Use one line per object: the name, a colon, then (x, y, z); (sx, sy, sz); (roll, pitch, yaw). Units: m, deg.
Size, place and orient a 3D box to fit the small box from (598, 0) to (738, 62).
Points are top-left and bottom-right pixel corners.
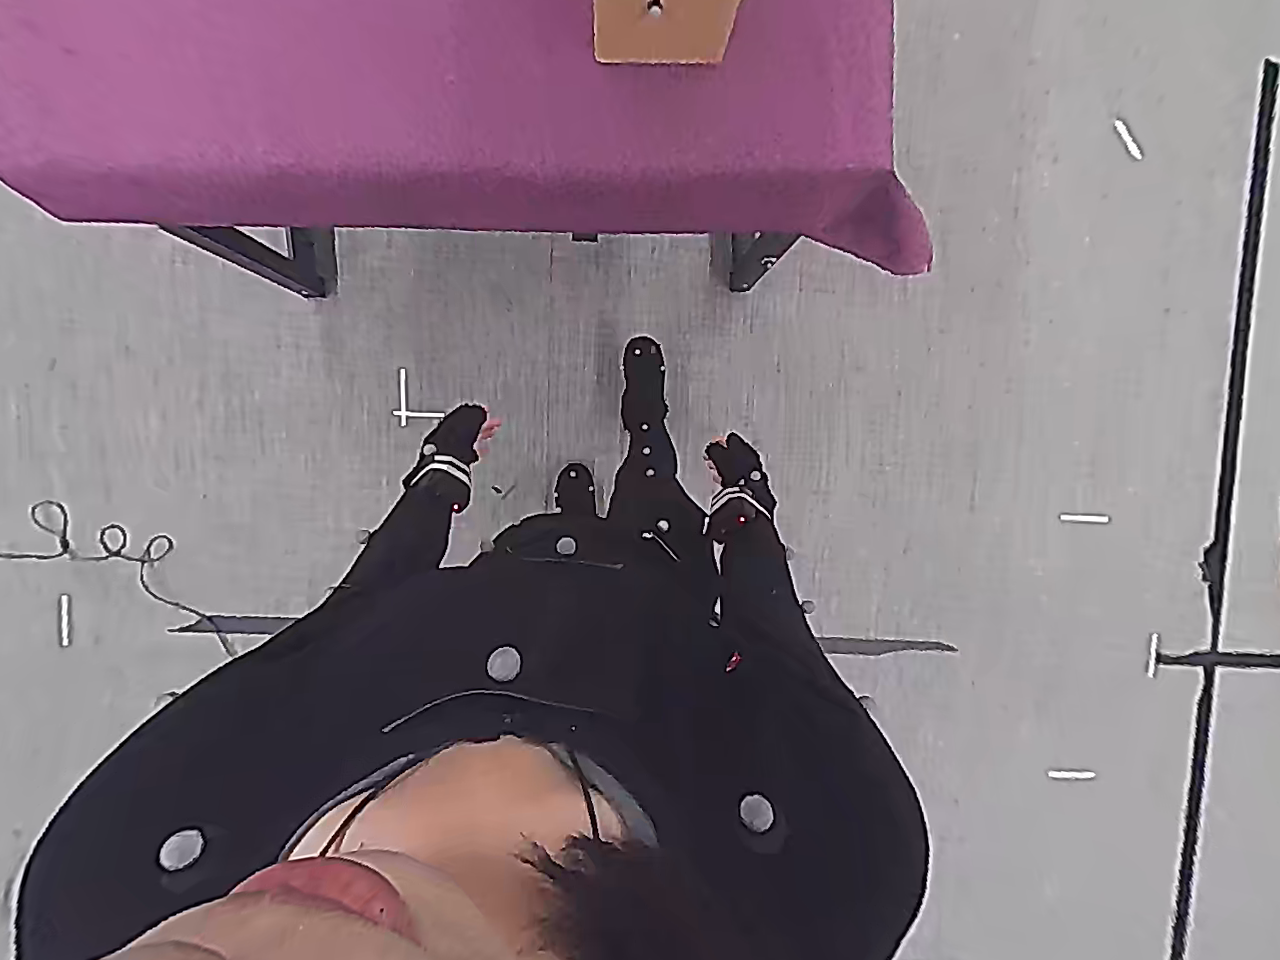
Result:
small box: (0.033, -0.650, 0.659); (0.179, 0.176, 0.168); (-2, 94, -3)
